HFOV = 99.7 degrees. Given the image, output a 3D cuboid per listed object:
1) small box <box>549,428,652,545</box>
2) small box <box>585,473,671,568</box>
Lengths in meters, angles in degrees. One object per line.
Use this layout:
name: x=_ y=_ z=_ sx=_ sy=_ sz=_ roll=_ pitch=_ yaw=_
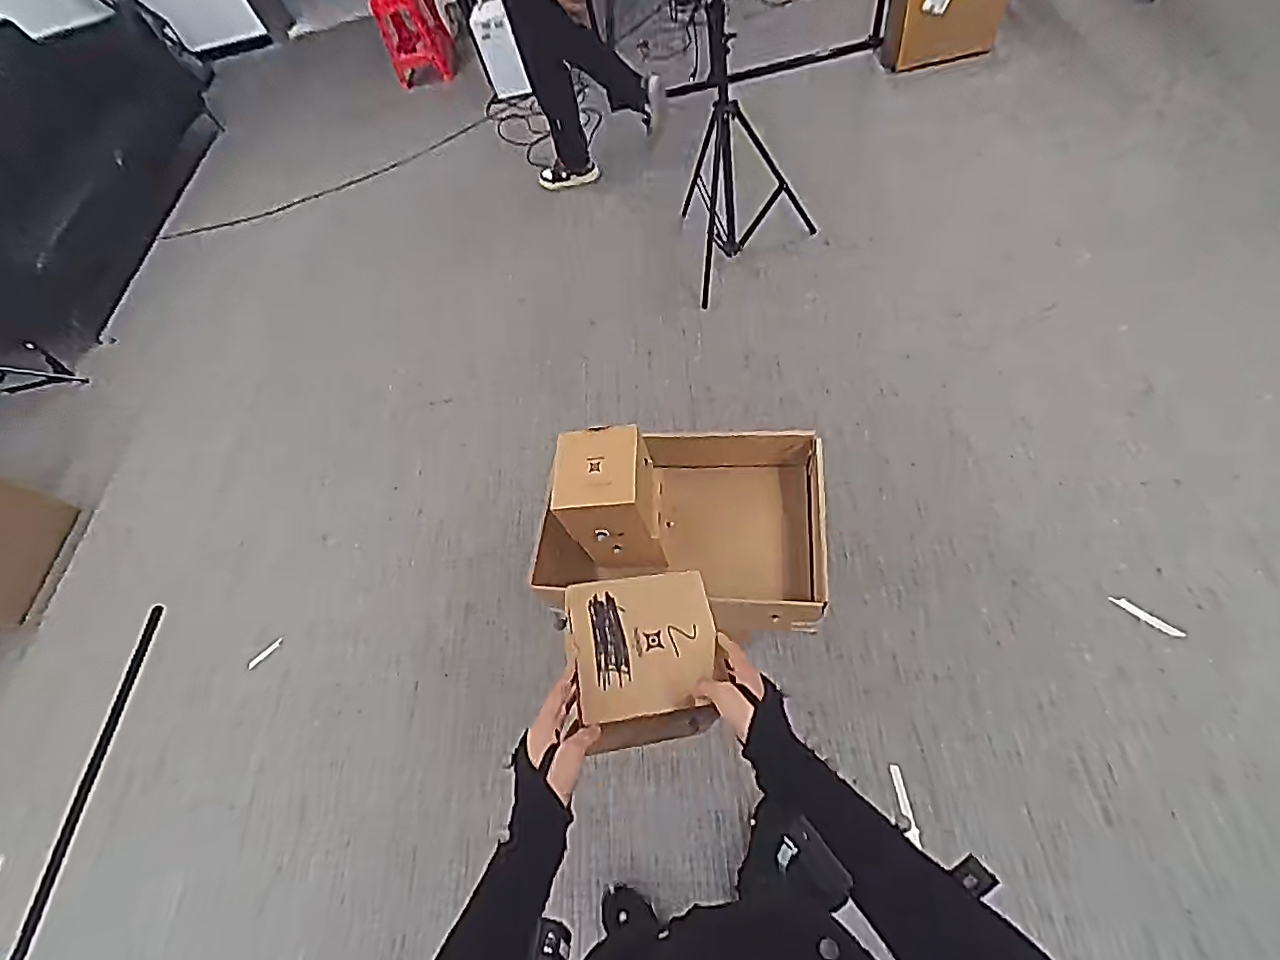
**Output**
small box: x=-0.071 y=0.018 z=1.097 sx=0.168 sy=0.176 sz=0.179 roll=-5 pitch=59 yaw=11
small box: x=-0.030 y=0.098 z=1.235 sx=0.179 sy=0.176 sz=0.168 roll=-2 pitch=61 yaw=11
